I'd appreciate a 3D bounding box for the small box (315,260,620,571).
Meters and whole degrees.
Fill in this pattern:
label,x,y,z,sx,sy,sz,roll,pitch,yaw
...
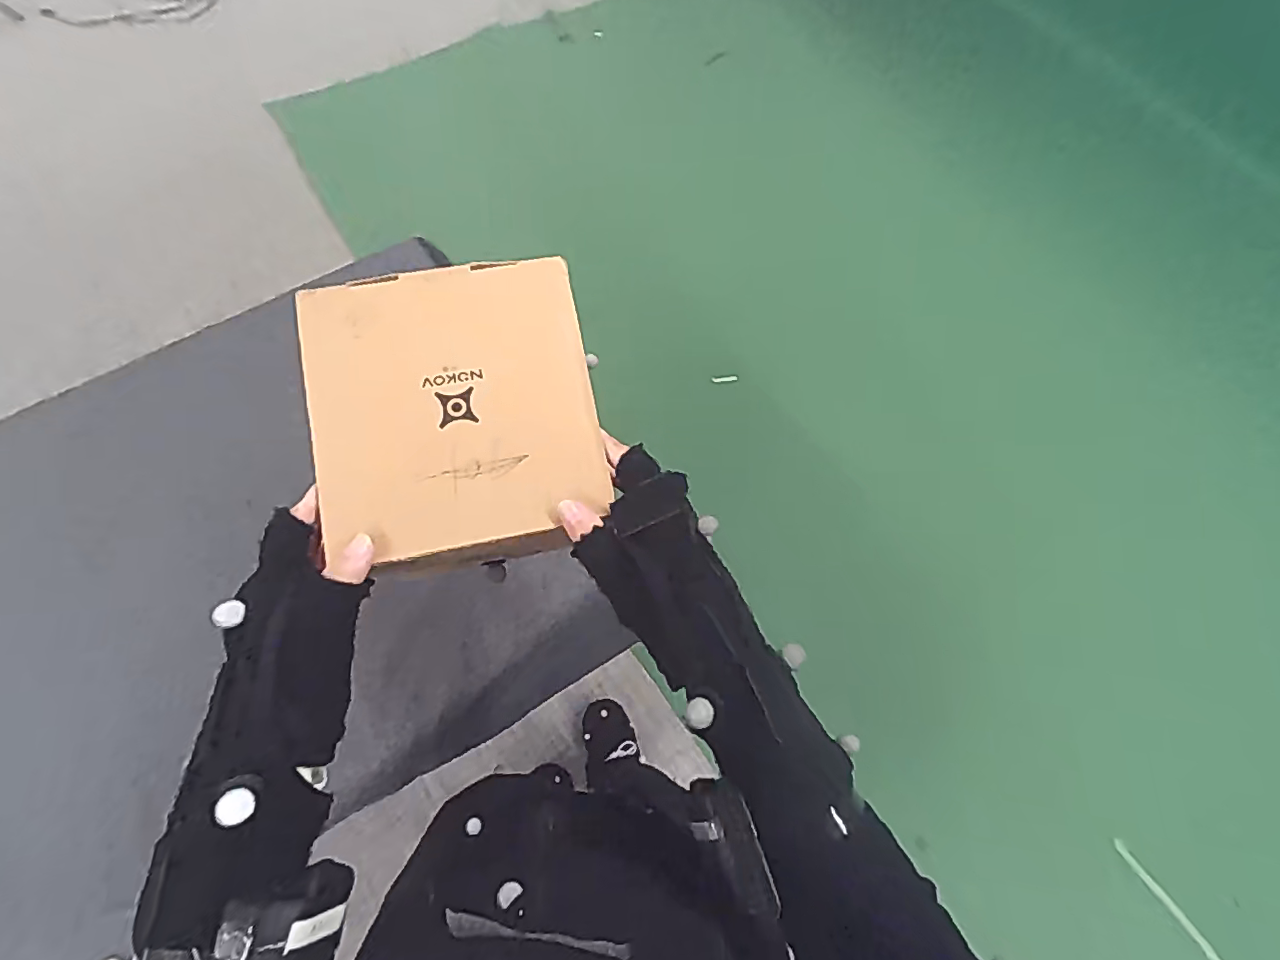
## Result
label,x,y,z,sx,sy,sz,roll,pitch,yaw
small box,-0.114,-0.033,0.405,0.168,0.176,0.179,-10,81,-7
